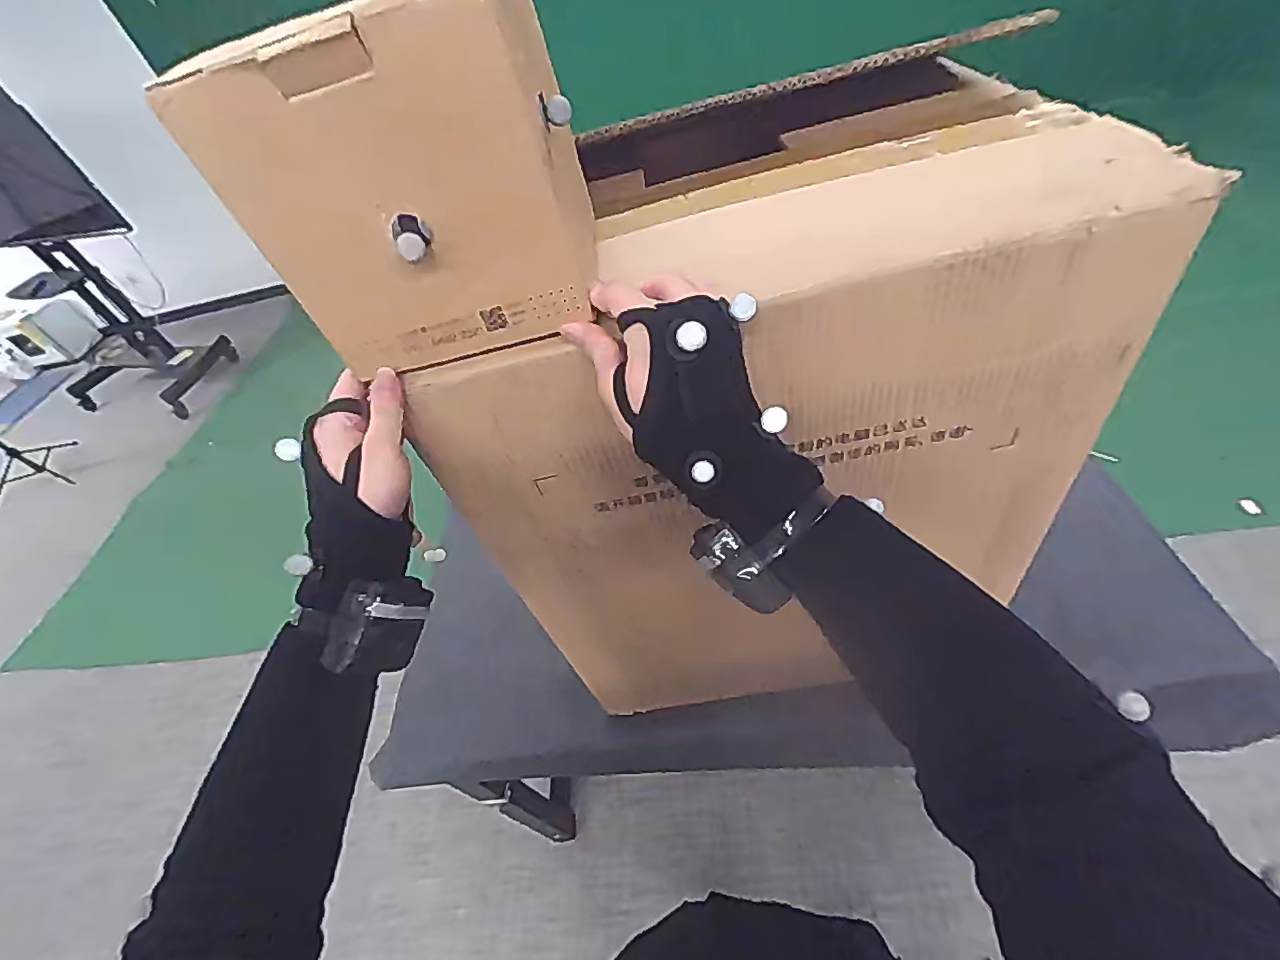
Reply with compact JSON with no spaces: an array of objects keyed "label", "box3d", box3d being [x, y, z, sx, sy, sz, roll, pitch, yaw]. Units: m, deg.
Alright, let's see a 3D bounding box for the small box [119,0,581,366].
[{"label":"small box","box3d":[-0.139,-0.191,0.341,0.168,0.176,0.179,-12,48,7]}]
